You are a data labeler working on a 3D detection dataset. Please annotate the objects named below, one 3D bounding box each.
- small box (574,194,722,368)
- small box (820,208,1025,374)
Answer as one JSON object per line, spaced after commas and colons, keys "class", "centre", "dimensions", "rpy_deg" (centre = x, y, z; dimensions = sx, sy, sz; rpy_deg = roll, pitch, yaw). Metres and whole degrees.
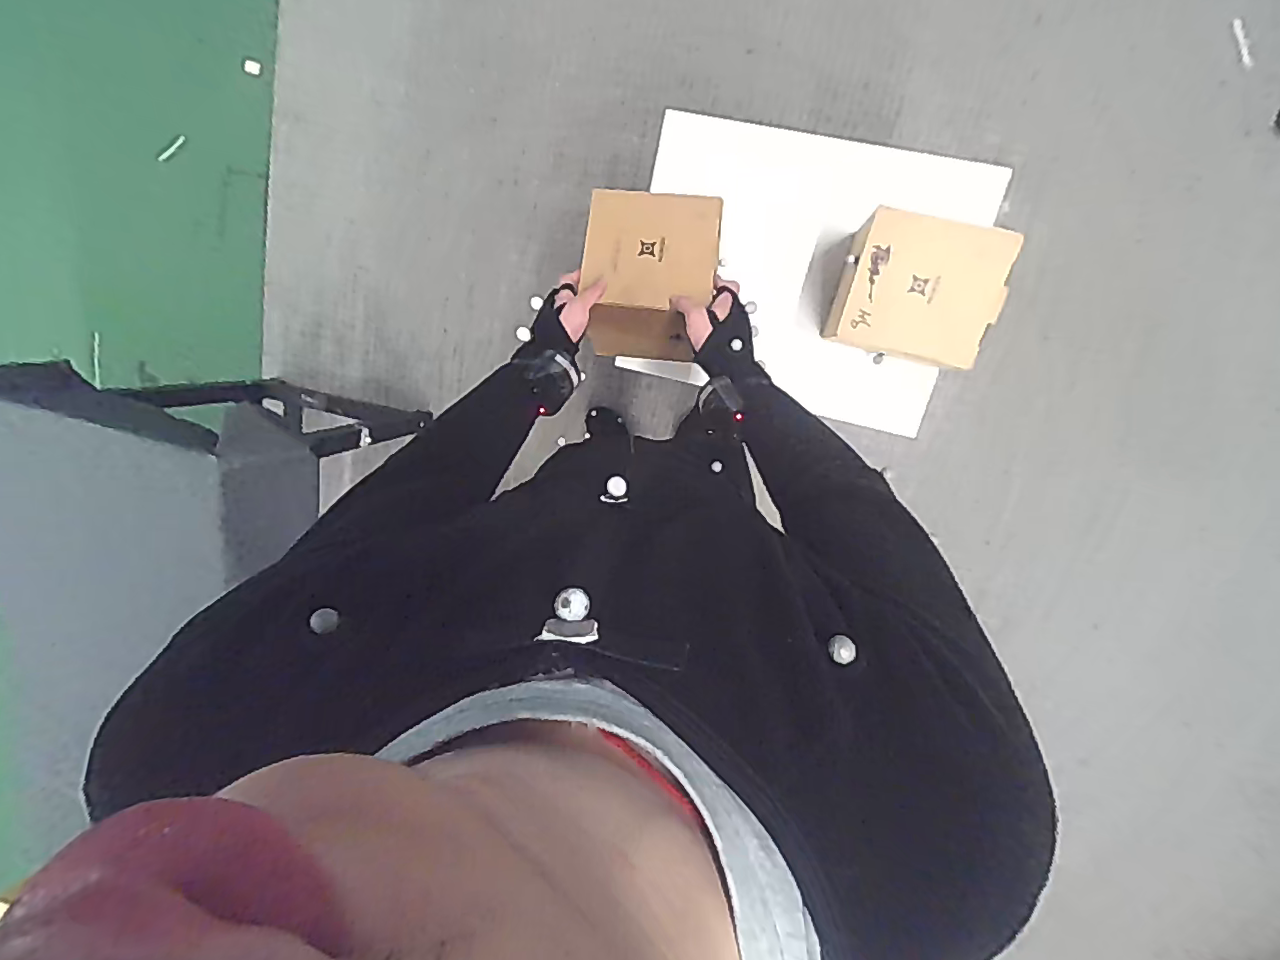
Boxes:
{"class": "small box", "centre": [0.015, -0.266, 0.754], "dimensions": [0.179, 0.176, 0.168], "rpy_deg": [4, 78, 4]}
{"class": "small box", "centre": [0.370, -0.251, 0.748], "dimensions": [0.179, 0.176, 0.168], "rpy_deg": [15, 104, 5]}
